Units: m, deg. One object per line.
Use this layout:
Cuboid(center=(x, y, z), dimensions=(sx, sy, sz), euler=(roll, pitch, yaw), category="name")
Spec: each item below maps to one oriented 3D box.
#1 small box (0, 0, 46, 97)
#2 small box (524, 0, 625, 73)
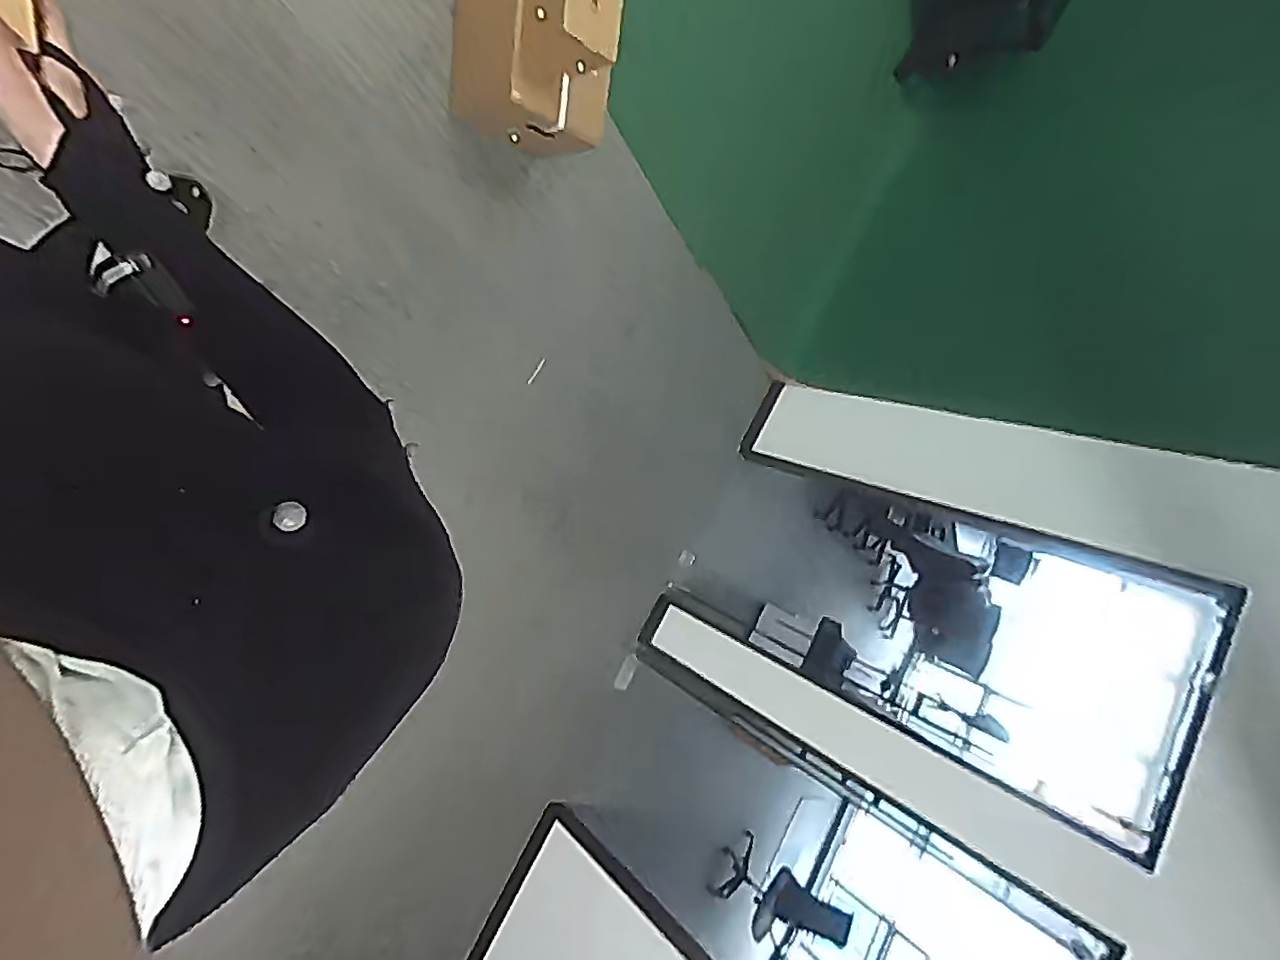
Cuboid(center=(-0.549, -0.397, 0.372), dimensions=(0.179, 0.176, 0.168), euler=(-9, 109, -44), category="small box")
Cuboid(center=(-0.156, -1.105, 1.277), dimensions=(0.168, 0.176, 0.179), euler=(-6, 111, -47), category="small box")
